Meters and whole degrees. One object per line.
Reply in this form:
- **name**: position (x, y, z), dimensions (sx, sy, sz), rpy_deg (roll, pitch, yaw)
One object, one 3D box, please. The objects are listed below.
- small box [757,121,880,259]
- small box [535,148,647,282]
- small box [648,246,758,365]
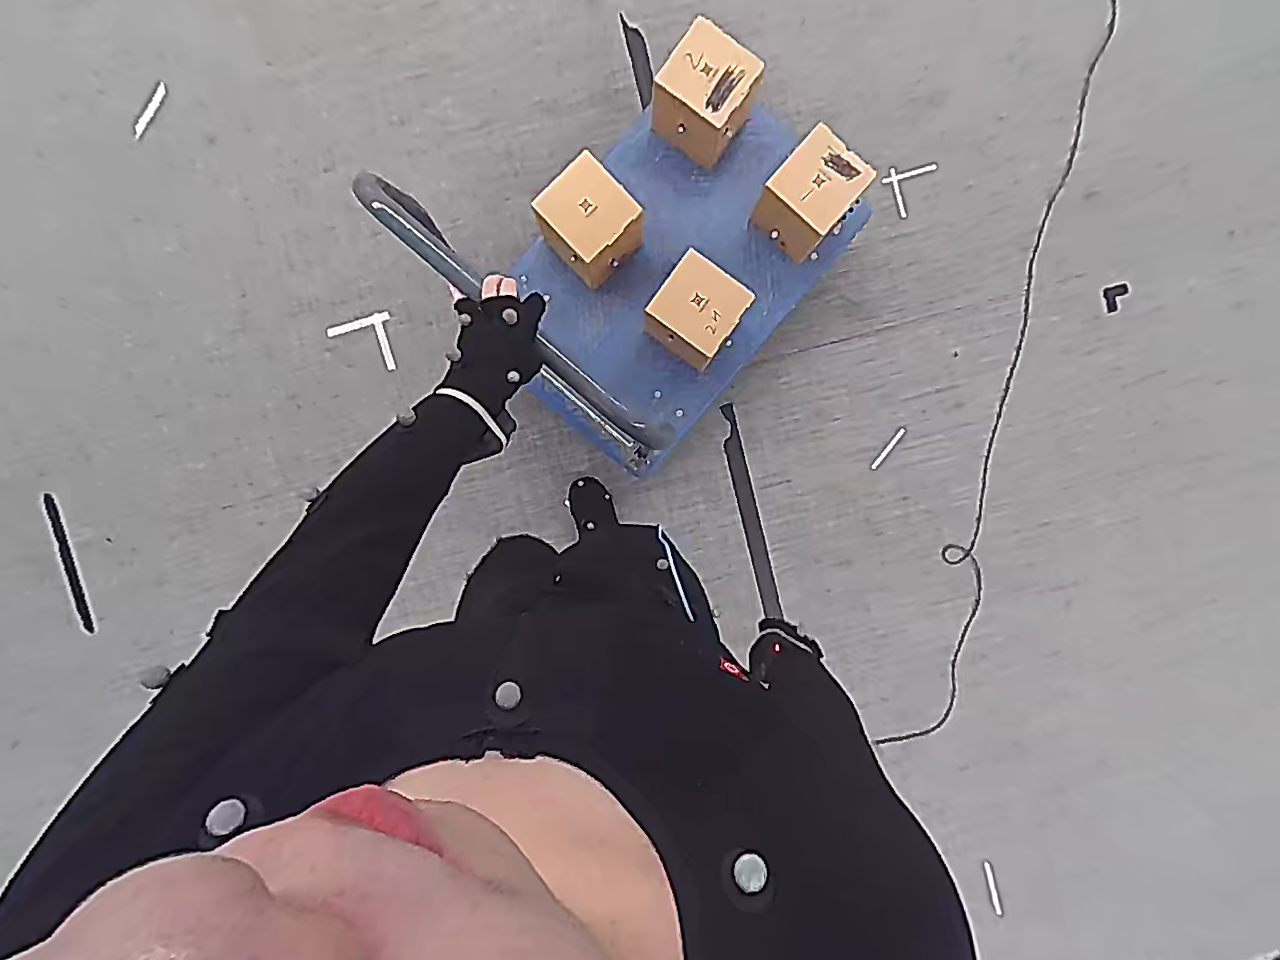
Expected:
- **small box**: position (0.385, -0.635, 1.207), dimensions (0.168, 0.176, 0.179), rpy_deg (42, 92, -2)
- **small box**: position (-0.106, -0.577, 1.203), dimensions (0.168, 0.176, 0.179), rpy_deg (-44, 93, 1)
- **small box**: position (0.130, -0.378, 1.212), dimensions (0.179, 0.176, 0.168), rpy_deg (37, 91, -1)
